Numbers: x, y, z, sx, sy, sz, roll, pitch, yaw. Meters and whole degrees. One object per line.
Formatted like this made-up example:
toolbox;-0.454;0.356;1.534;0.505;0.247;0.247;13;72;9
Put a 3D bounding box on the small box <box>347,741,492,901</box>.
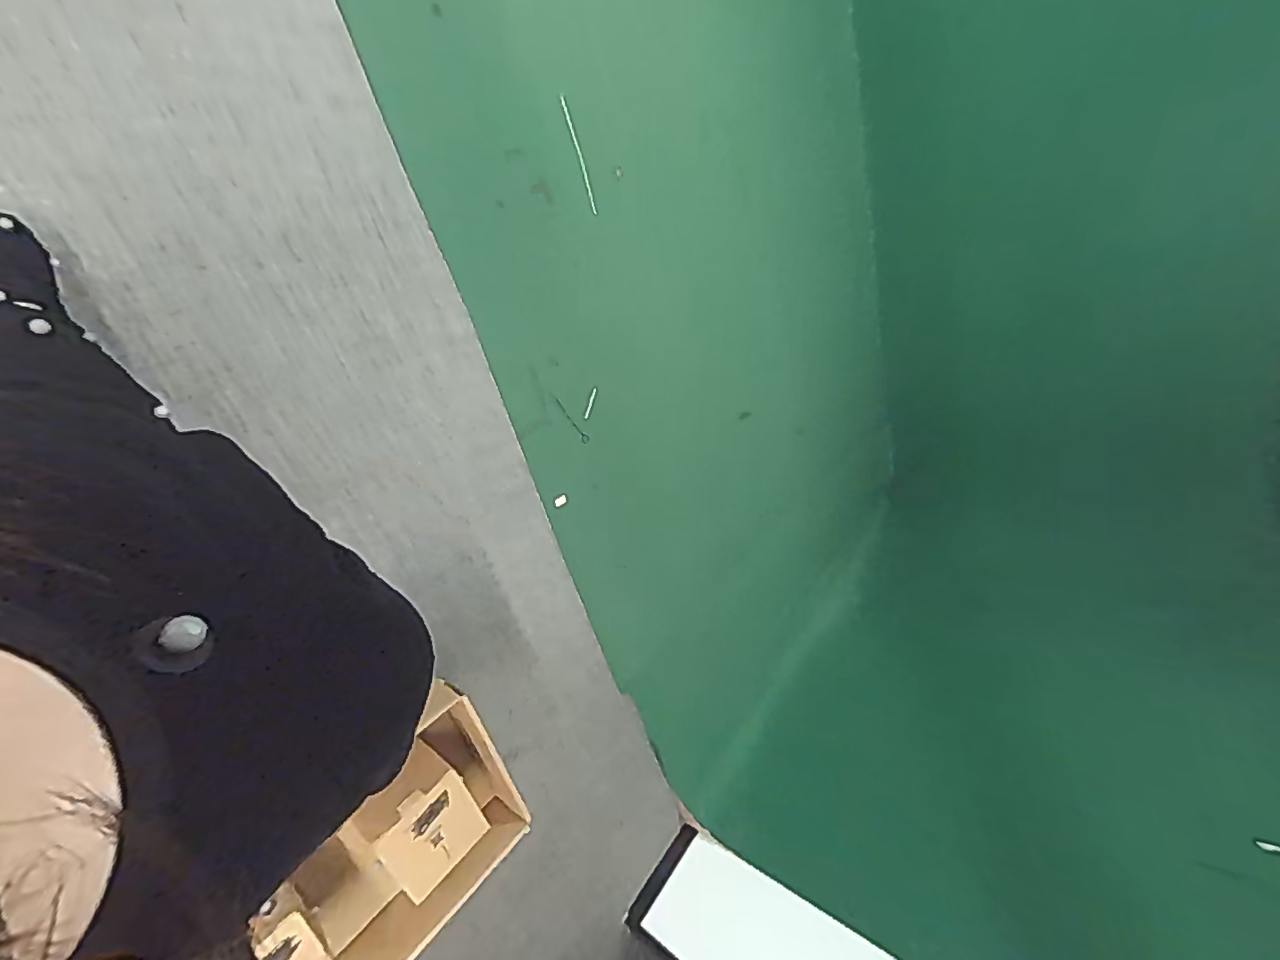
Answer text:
small box;-0.421;0.631;1.029;0.168;0.176;0.179;-37;120;-37
